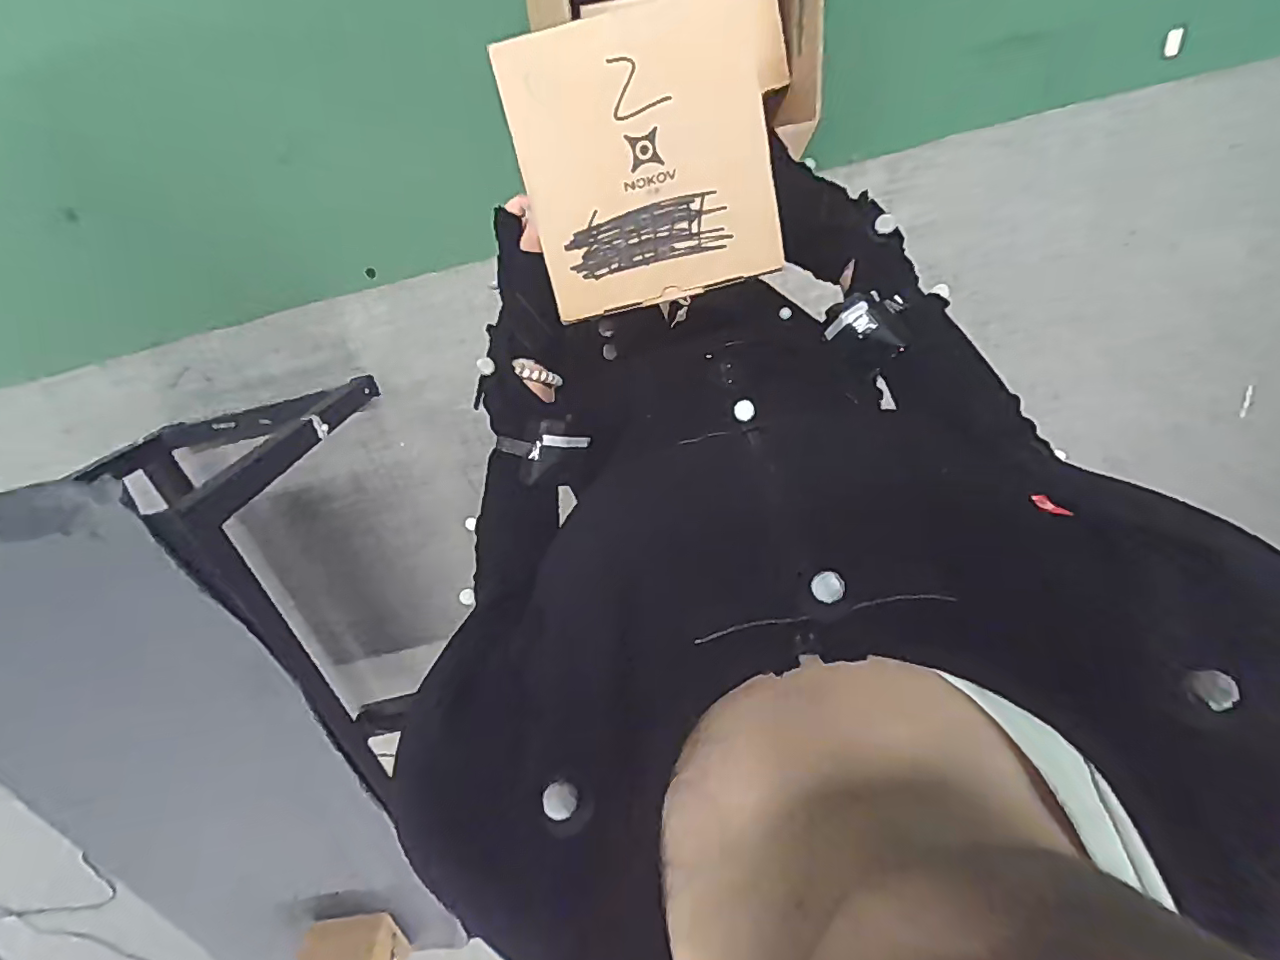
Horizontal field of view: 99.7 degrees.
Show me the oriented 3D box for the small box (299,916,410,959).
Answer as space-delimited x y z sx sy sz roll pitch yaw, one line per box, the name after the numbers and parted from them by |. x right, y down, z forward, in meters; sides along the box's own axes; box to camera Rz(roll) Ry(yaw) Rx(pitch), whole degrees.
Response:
-0.625 1.071 1.150 0.179 0.176 0.168 -10 116 3 | small box
